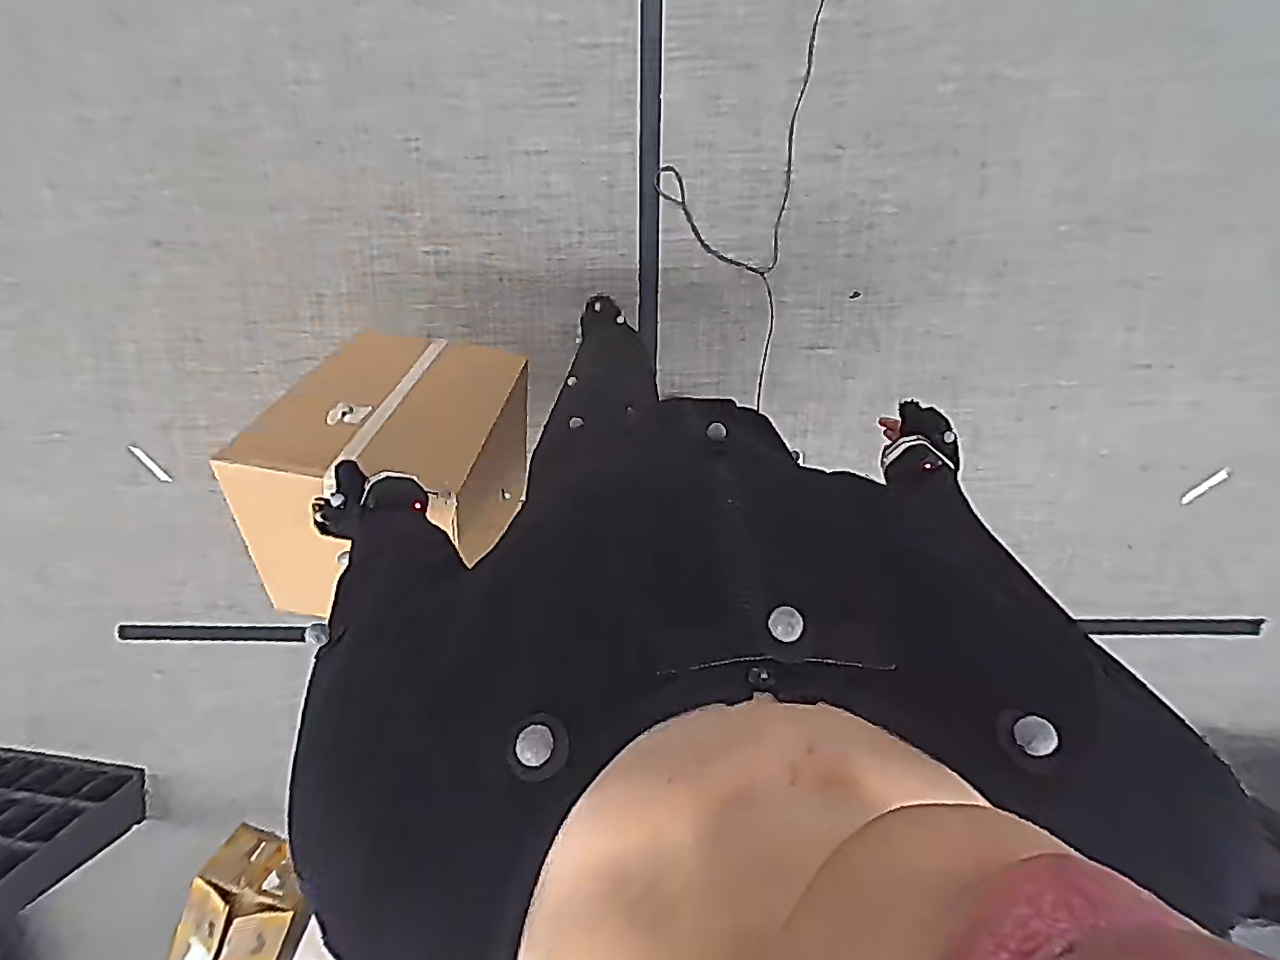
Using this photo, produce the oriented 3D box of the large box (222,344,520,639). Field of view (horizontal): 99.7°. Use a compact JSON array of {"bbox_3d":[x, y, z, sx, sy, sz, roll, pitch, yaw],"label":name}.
[{"bbox_3d":[-0.400,0.006,0.944,0.320,0.408,0.320,7,128,-2],"label":"large box"}]
